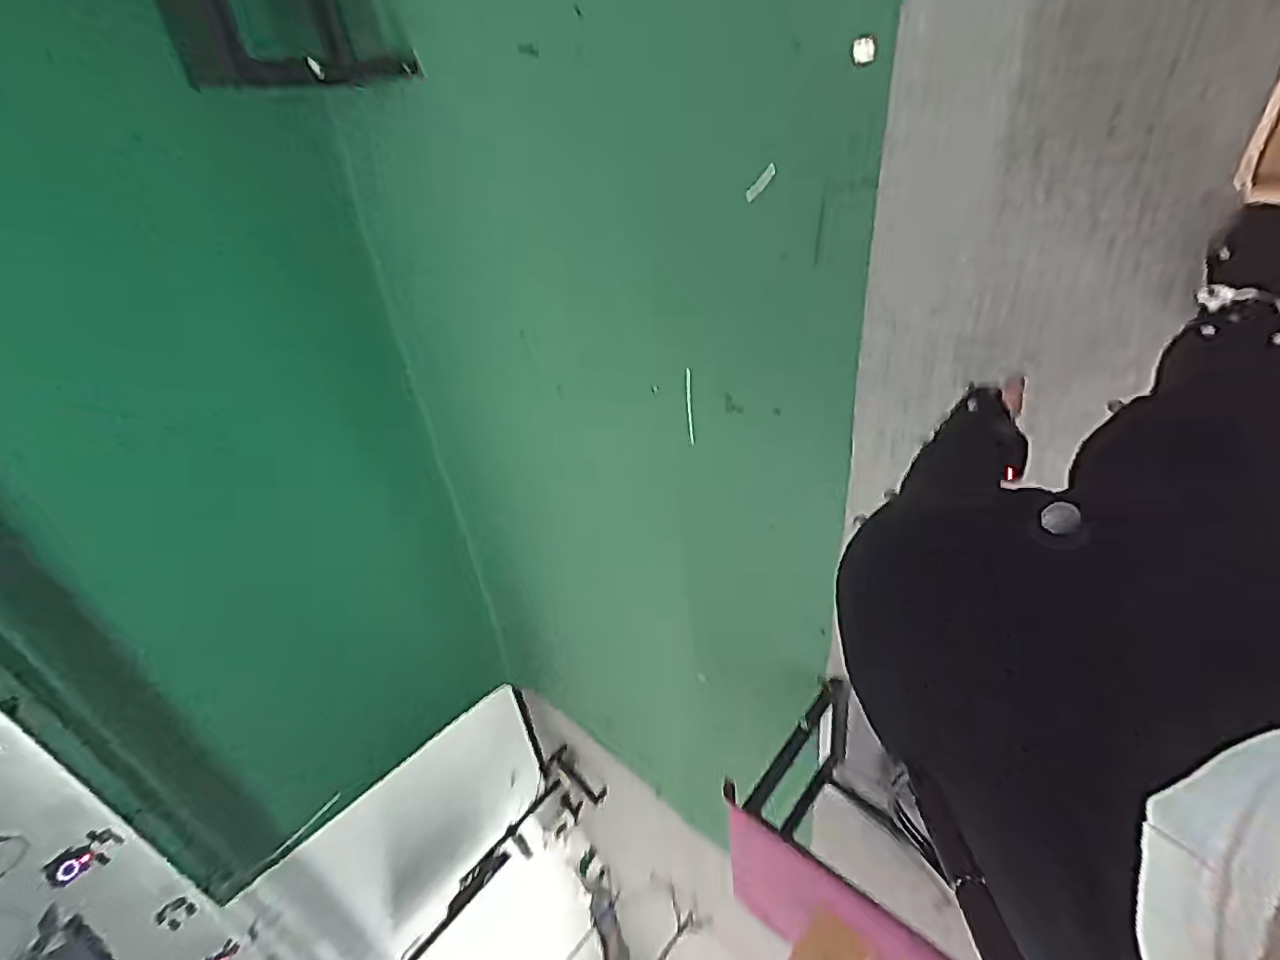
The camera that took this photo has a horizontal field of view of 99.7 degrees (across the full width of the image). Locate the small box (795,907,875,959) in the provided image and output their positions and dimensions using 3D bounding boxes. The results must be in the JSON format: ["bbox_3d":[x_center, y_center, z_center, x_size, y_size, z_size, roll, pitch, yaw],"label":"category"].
[{"bbox_3d":[0.575,1.430,1.603,0.179,0.176,0.168,21,130,38],"label":"small box"}]
